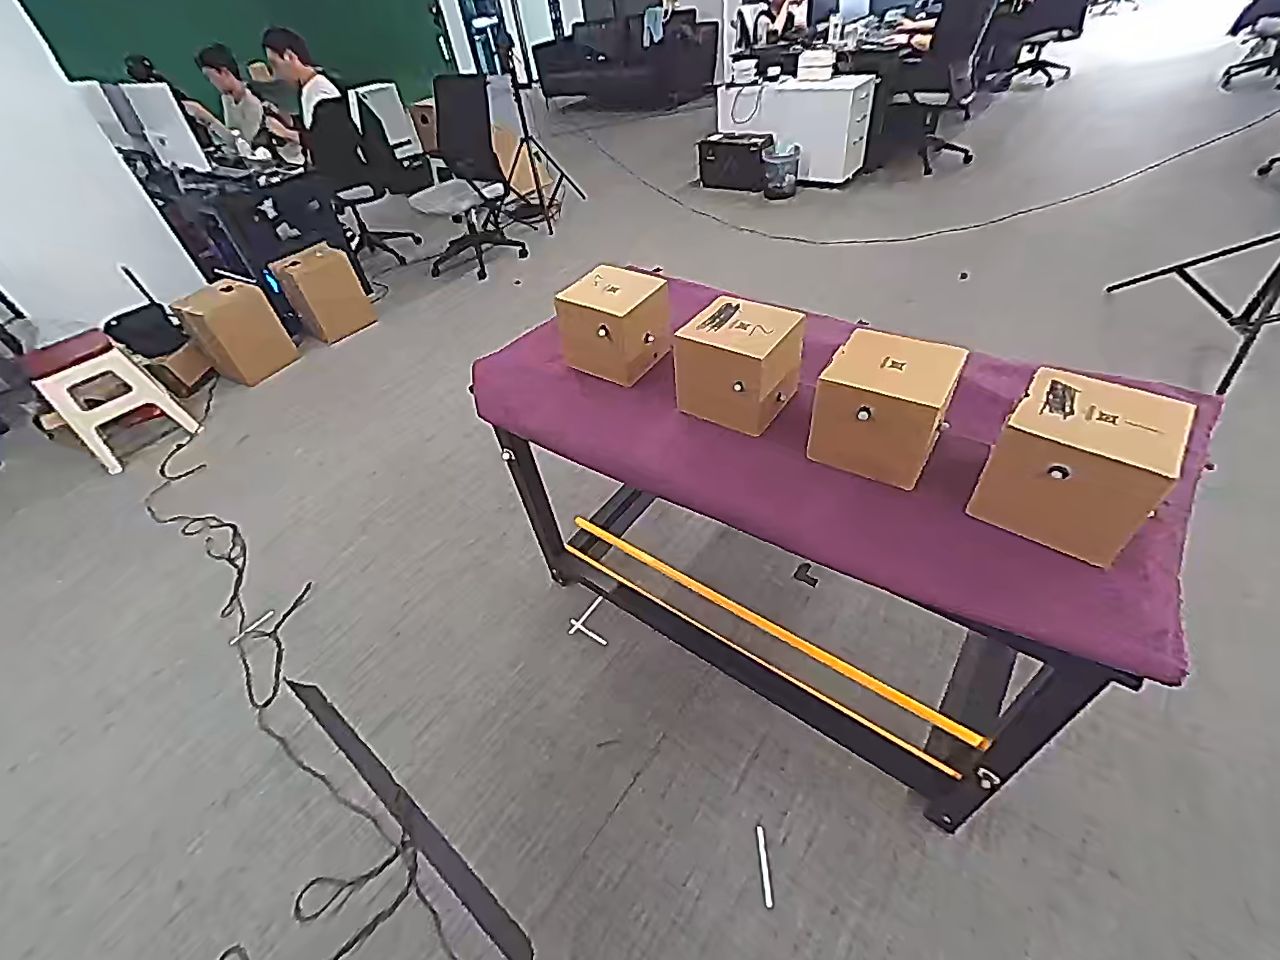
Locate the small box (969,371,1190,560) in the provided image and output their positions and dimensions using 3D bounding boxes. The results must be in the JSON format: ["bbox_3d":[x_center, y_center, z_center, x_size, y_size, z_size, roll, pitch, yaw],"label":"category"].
[{"bbox_3d":[0.590,-0.020,0.745,0.179,0.176,0.168,28,54,32],"label":"small box"}]

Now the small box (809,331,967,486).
[{"bbox_3d":[0.394,-0.114,0.880,0.179,0.176,0.168,22,52,29],"label":"small box"}]

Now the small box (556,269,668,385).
[{"bbox_3d":[-0.051,-0.326,1.163,0.179,0.176,0.168,24,52,26],"label":"small box"}]
